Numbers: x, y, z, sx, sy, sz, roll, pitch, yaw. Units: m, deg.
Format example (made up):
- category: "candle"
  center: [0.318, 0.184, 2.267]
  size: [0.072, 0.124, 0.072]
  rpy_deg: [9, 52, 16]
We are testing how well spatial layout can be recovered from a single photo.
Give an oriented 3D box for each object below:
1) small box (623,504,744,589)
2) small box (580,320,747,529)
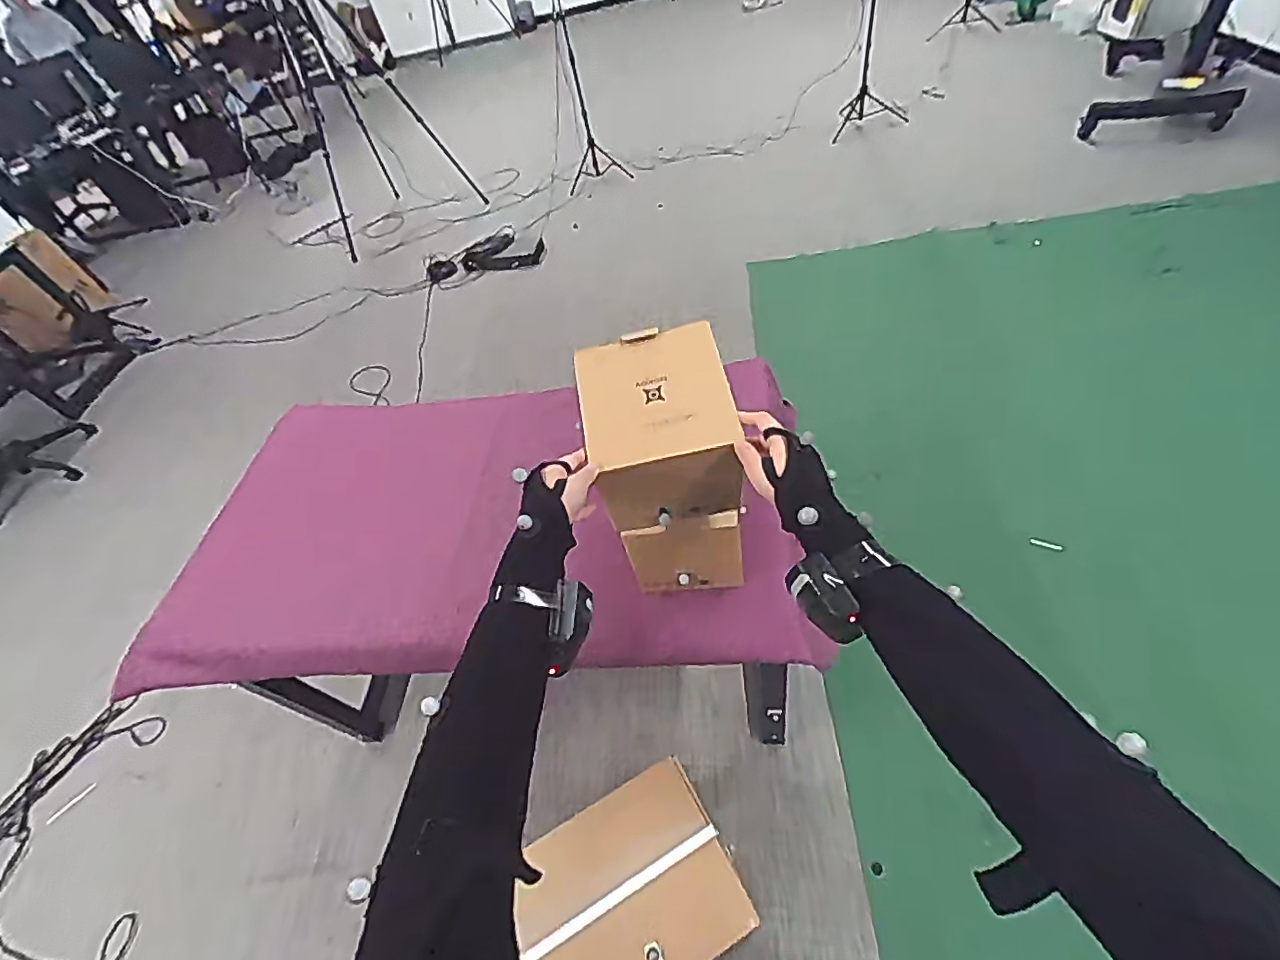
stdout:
- category: "small box"
  center: [0.074, 0.054, 0.860]
  size: [0.168, 0.176, 0.179]
  rpy_deg: [-6, 49, 10]
- category: "small box"
  center: [0.029, -0.062, 0.669]
  size: [0.168, 0.176, 0.179]
  rpy_deg: [-12, 60, 3]
